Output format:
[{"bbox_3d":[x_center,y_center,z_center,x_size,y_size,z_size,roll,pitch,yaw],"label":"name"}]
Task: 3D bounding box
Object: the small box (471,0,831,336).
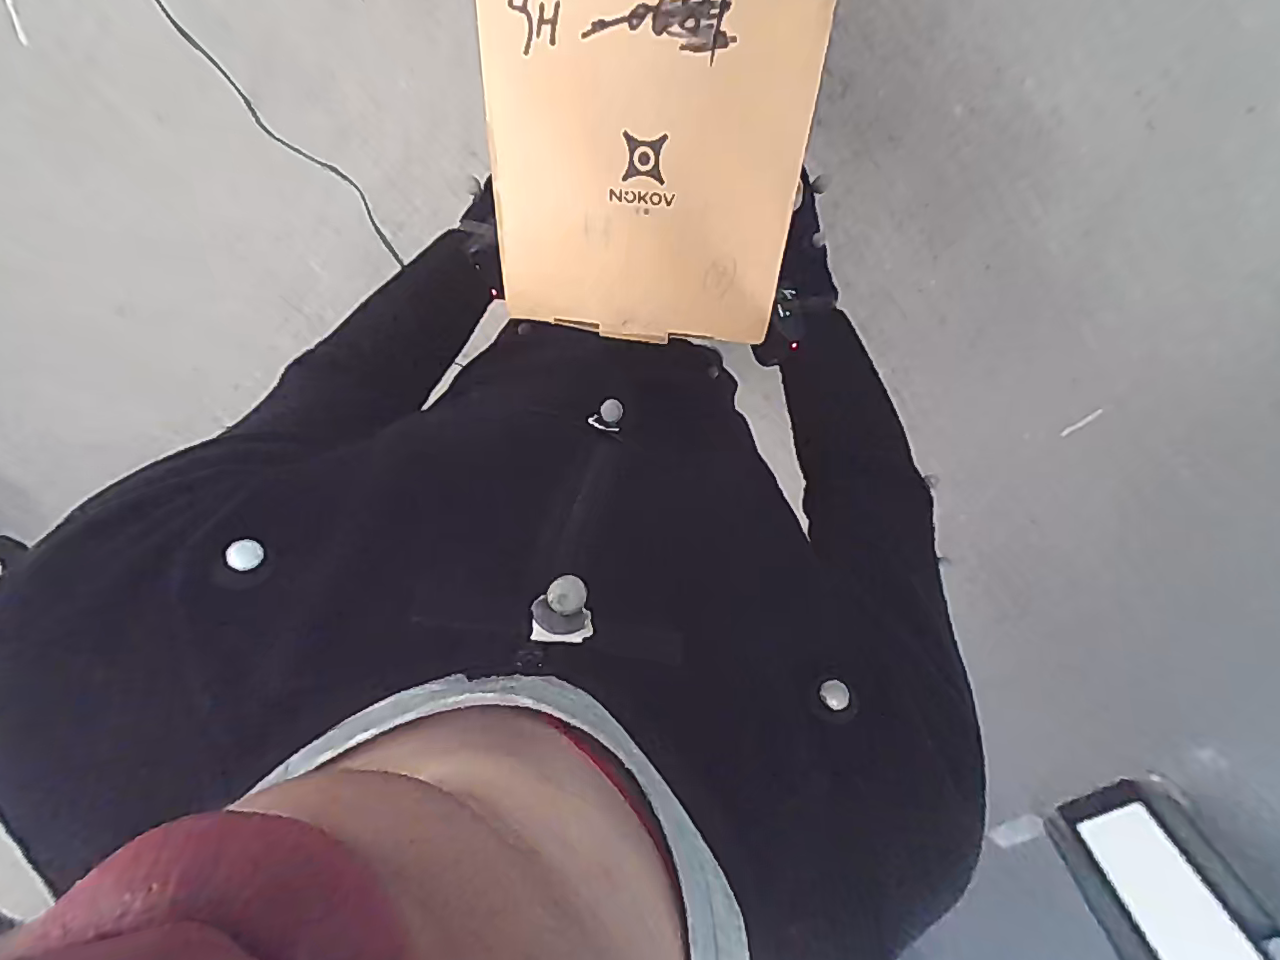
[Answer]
[{"bbox_3d":[0.011,-0.216,0.346,0.168,0.176,0.179,7,130,5],"label":"small box"}]
